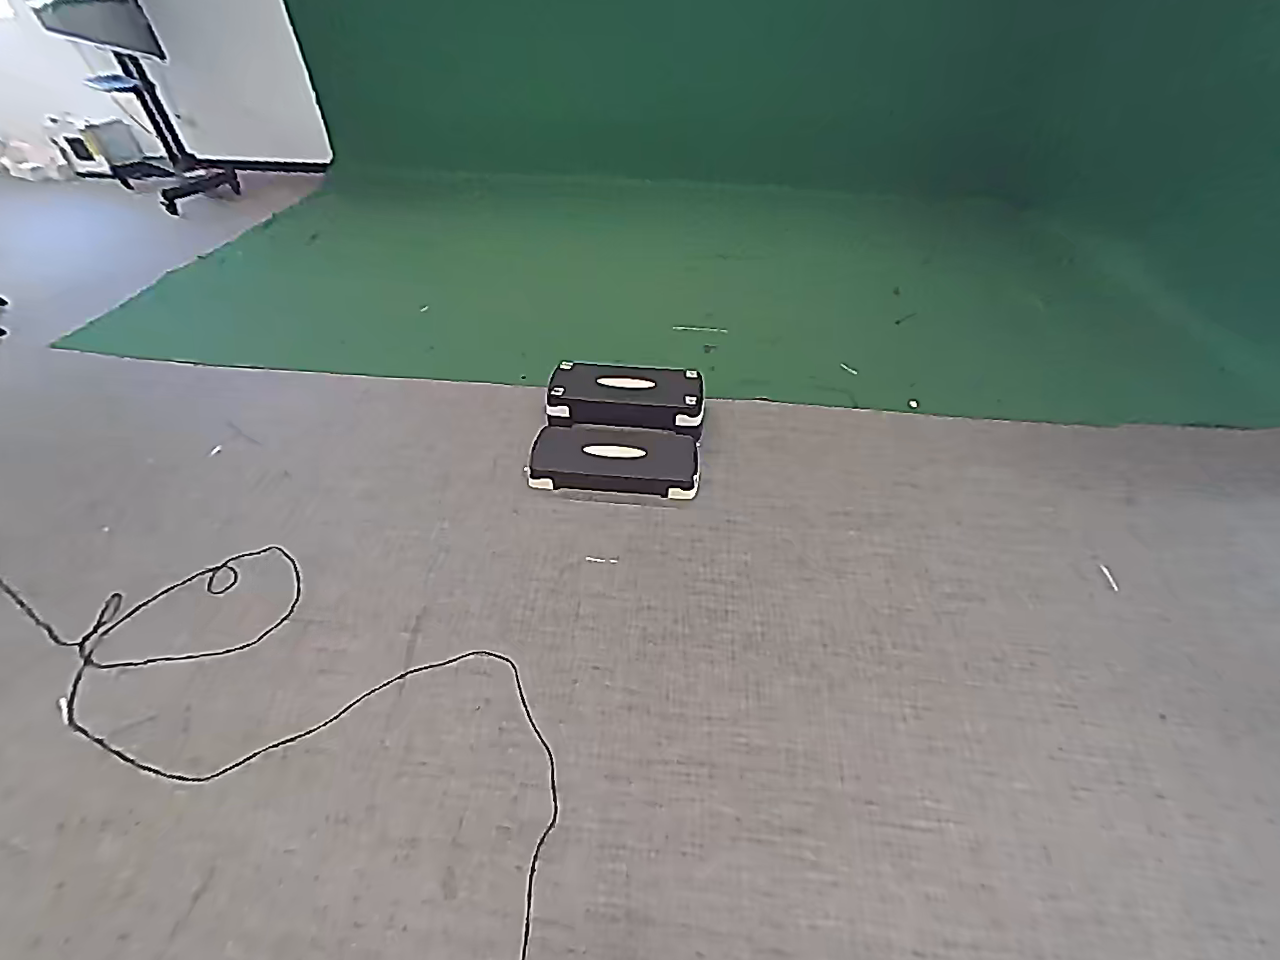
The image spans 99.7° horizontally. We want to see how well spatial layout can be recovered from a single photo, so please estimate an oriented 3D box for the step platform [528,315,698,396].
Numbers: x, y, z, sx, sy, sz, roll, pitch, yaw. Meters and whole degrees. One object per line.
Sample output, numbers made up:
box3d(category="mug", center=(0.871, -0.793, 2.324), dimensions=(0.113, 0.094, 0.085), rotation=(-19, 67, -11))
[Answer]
box3d(category="step platform", center=(-0.106, -0.521, 2.257), dimensions=(0.684, 0.204, 0.286), rotation=(4, 45, 4))
